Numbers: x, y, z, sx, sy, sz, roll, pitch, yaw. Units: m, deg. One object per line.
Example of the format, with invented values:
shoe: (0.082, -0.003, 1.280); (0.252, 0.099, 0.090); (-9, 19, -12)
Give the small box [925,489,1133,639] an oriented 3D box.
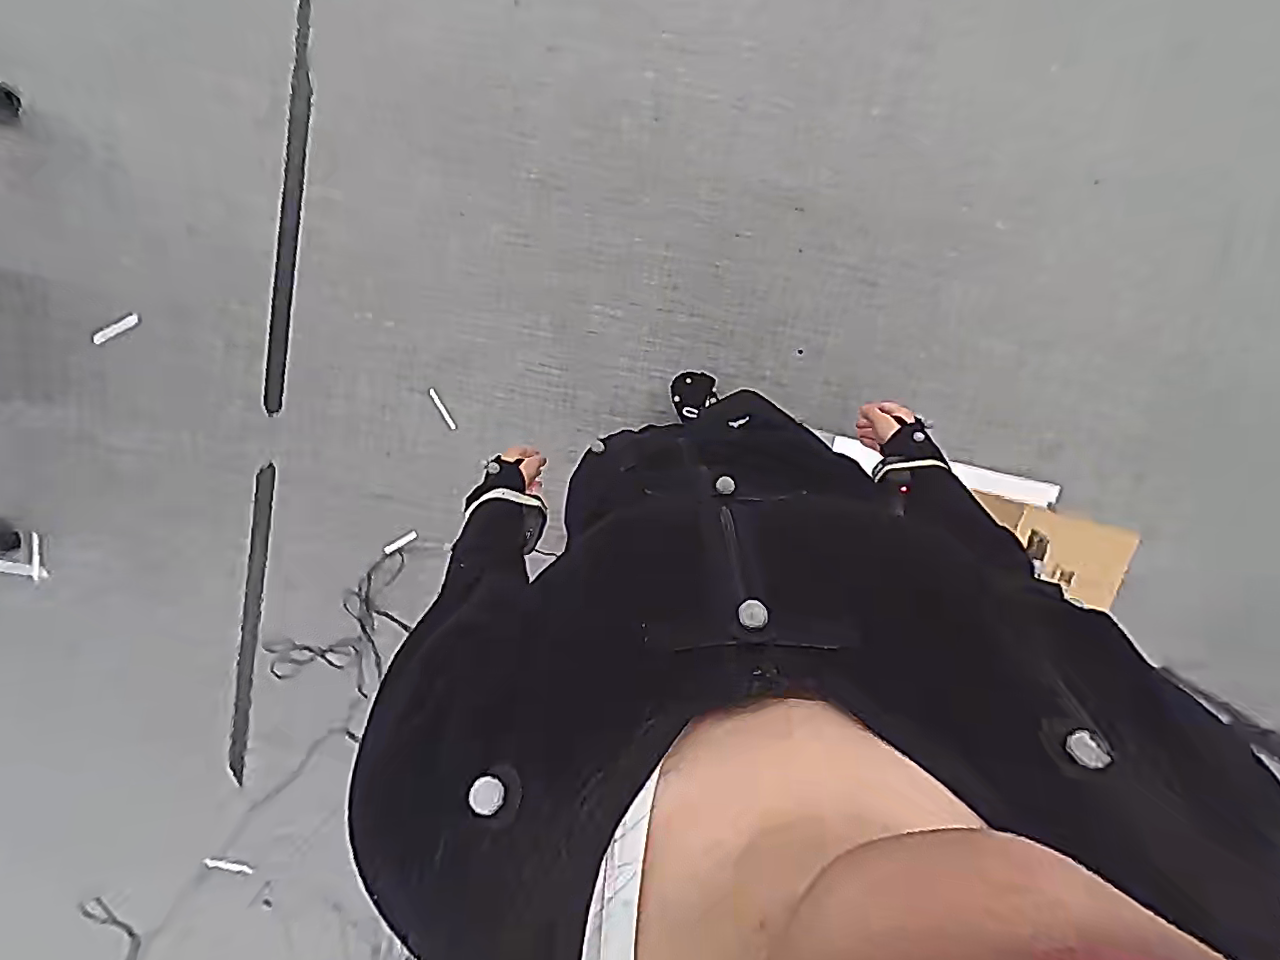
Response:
small box: (0.586, 0.119, 0.842); (0.179, 0.176, 0.168); (14, 100, -4)
